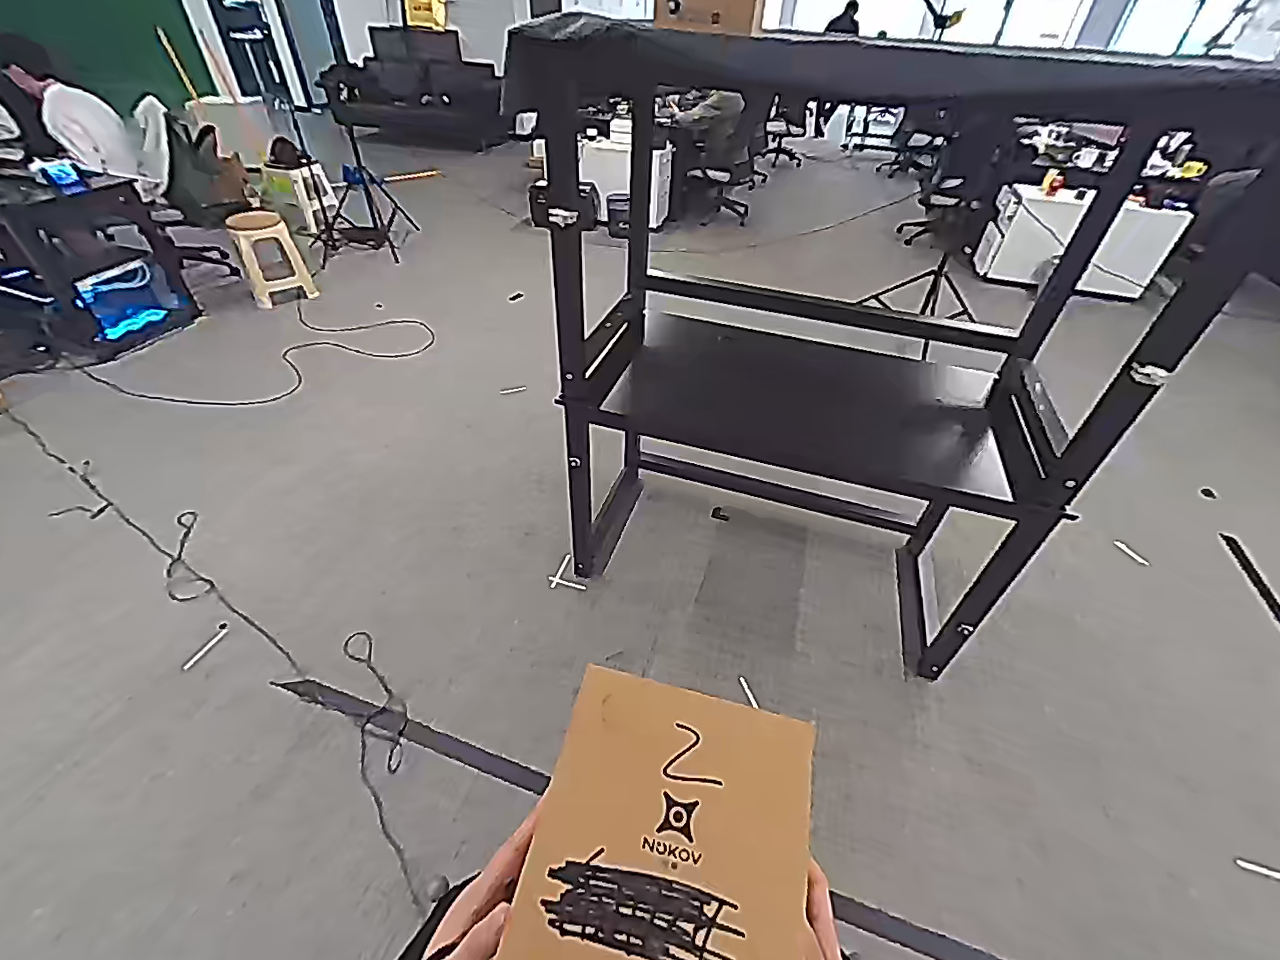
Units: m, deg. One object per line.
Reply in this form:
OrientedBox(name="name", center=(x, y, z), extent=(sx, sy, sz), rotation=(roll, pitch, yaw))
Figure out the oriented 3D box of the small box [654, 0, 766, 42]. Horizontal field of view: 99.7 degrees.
OrientedBox(name="small box", center=(0.123, -0.830, 0.885), extent=(0.168, 0.176, 0.179), rotation=(13, 40, 9))
